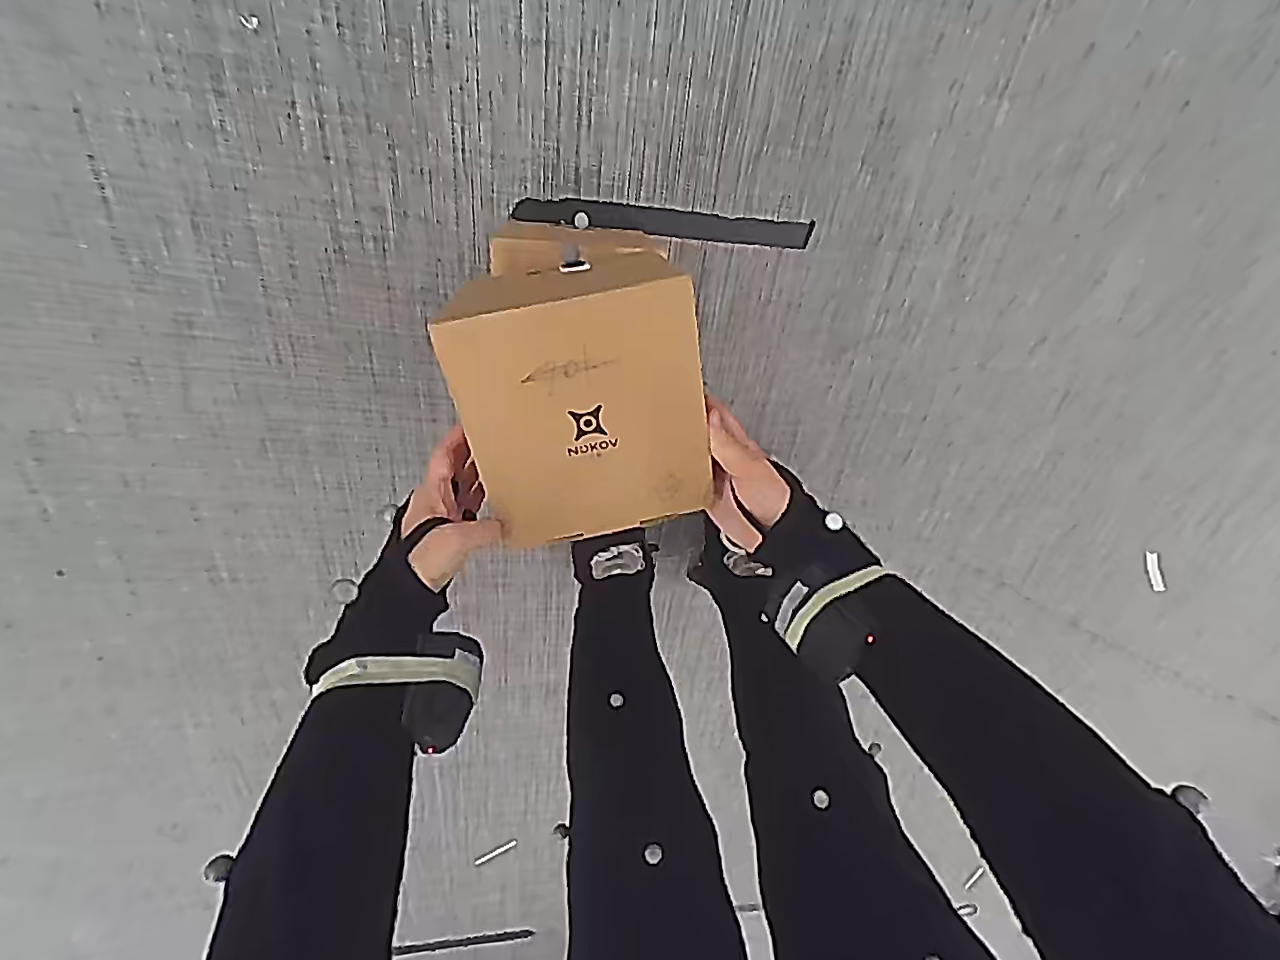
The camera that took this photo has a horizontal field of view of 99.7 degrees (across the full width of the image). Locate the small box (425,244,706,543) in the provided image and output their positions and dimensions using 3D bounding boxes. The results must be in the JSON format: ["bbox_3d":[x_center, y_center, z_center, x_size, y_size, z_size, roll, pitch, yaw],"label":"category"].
[{"bbox_3d":[-0.051,-0.079,0.445,0.168,0.176,0.179,-13,120,-3],"label":"small box"}]

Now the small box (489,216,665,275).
[{"bbox_3d":[-0.075,-0.187,0.608,0.168,0.176,0.179,0,120,-10],"label":"small box"}]
